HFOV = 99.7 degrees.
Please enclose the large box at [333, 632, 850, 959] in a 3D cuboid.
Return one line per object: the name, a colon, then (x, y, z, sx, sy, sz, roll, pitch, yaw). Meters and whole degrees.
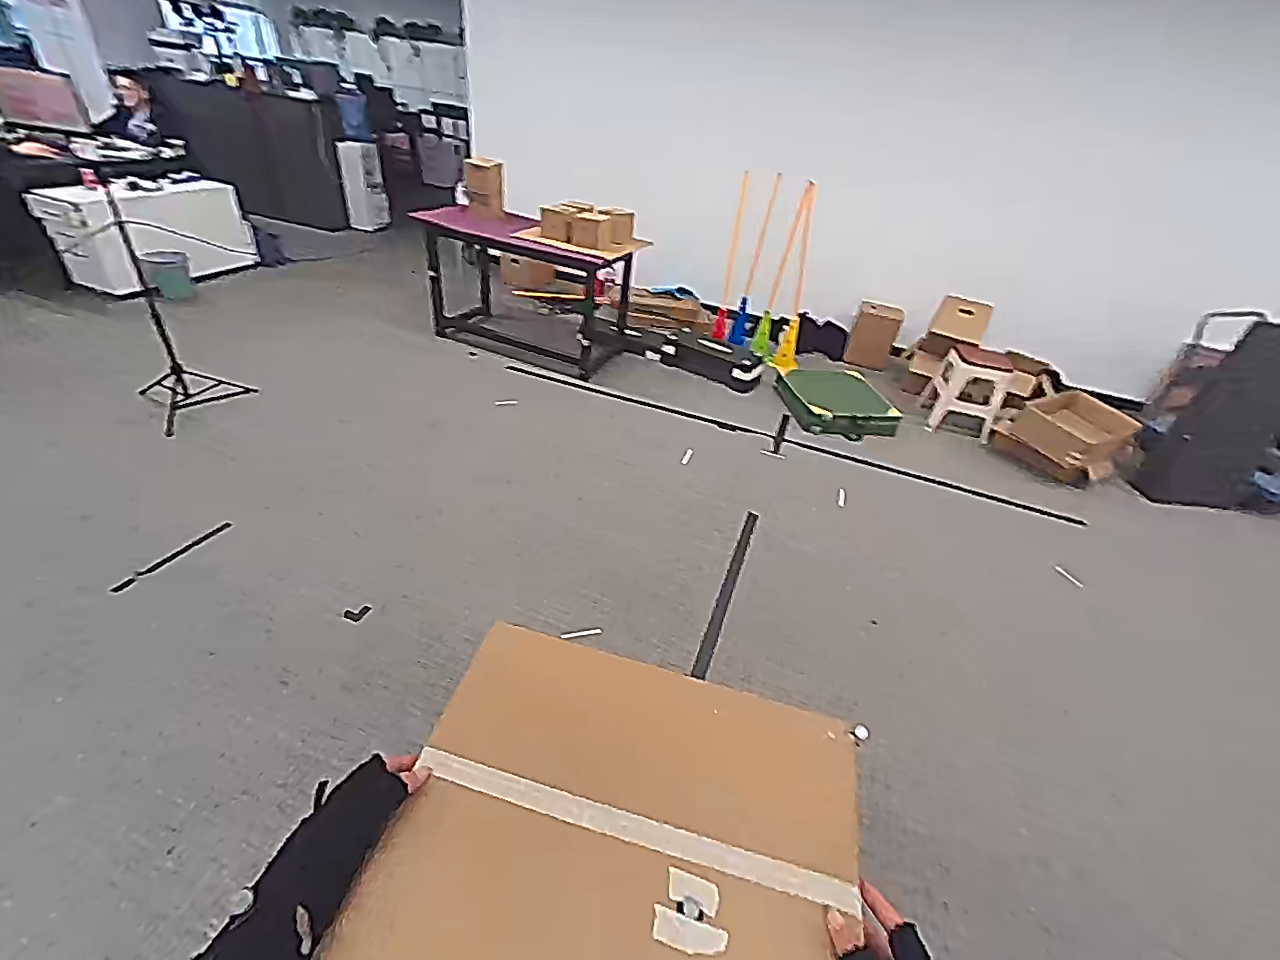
large box: (-0.023, 0.425, 0.594, 0.408, 0.320, 0.320, 14, 43, 8)
